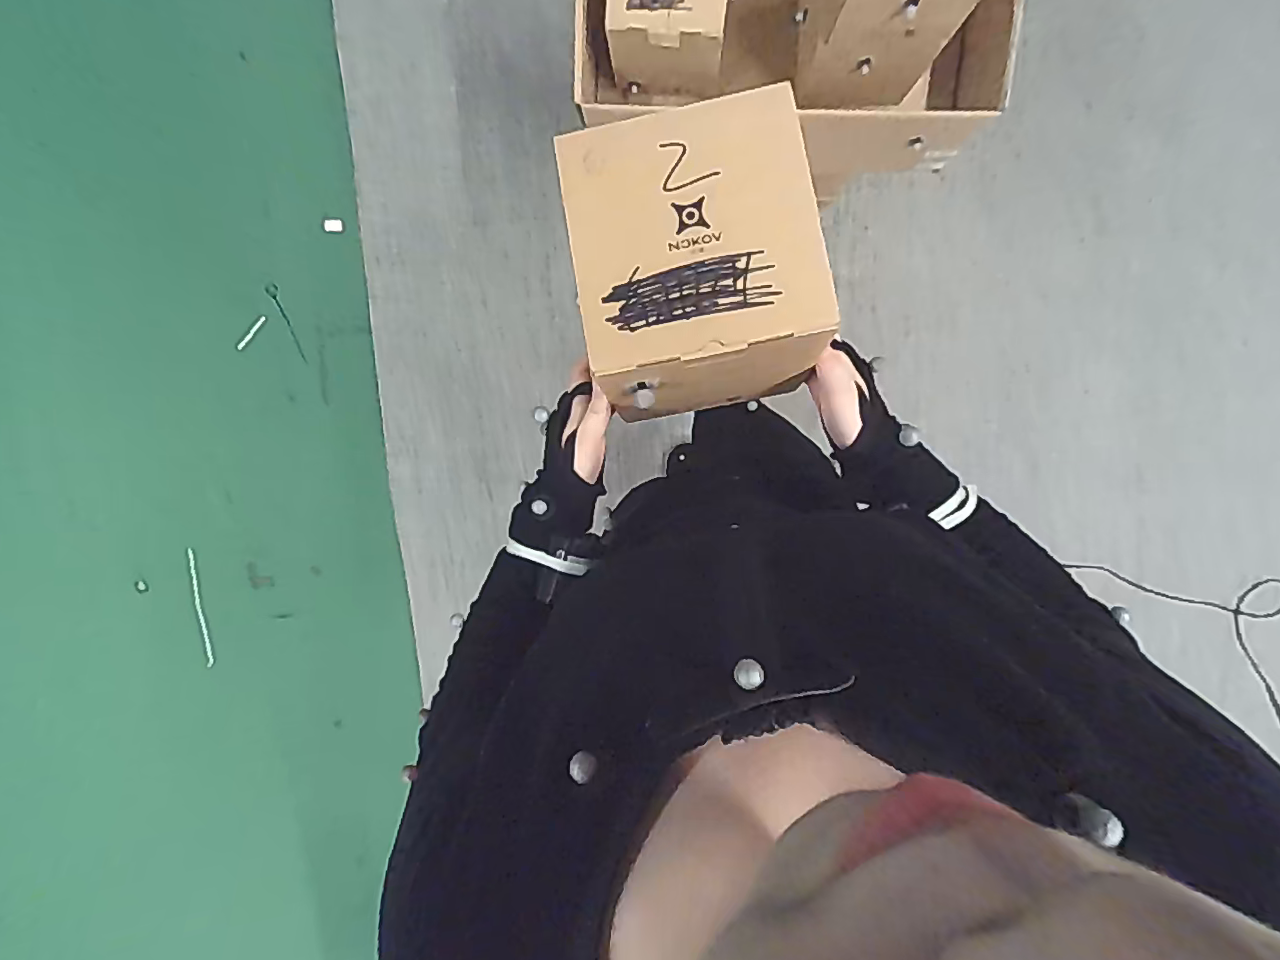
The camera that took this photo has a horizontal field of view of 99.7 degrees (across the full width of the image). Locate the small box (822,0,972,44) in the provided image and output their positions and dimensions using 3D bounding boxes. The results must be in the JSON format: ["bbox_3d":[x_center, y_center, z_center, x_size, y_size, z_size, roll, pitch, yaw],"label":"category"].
[{"bbox_3d":[0.320,-0.652,0.637,0.168,0.176,0.179,0,100,3],"label":"small box"}]
